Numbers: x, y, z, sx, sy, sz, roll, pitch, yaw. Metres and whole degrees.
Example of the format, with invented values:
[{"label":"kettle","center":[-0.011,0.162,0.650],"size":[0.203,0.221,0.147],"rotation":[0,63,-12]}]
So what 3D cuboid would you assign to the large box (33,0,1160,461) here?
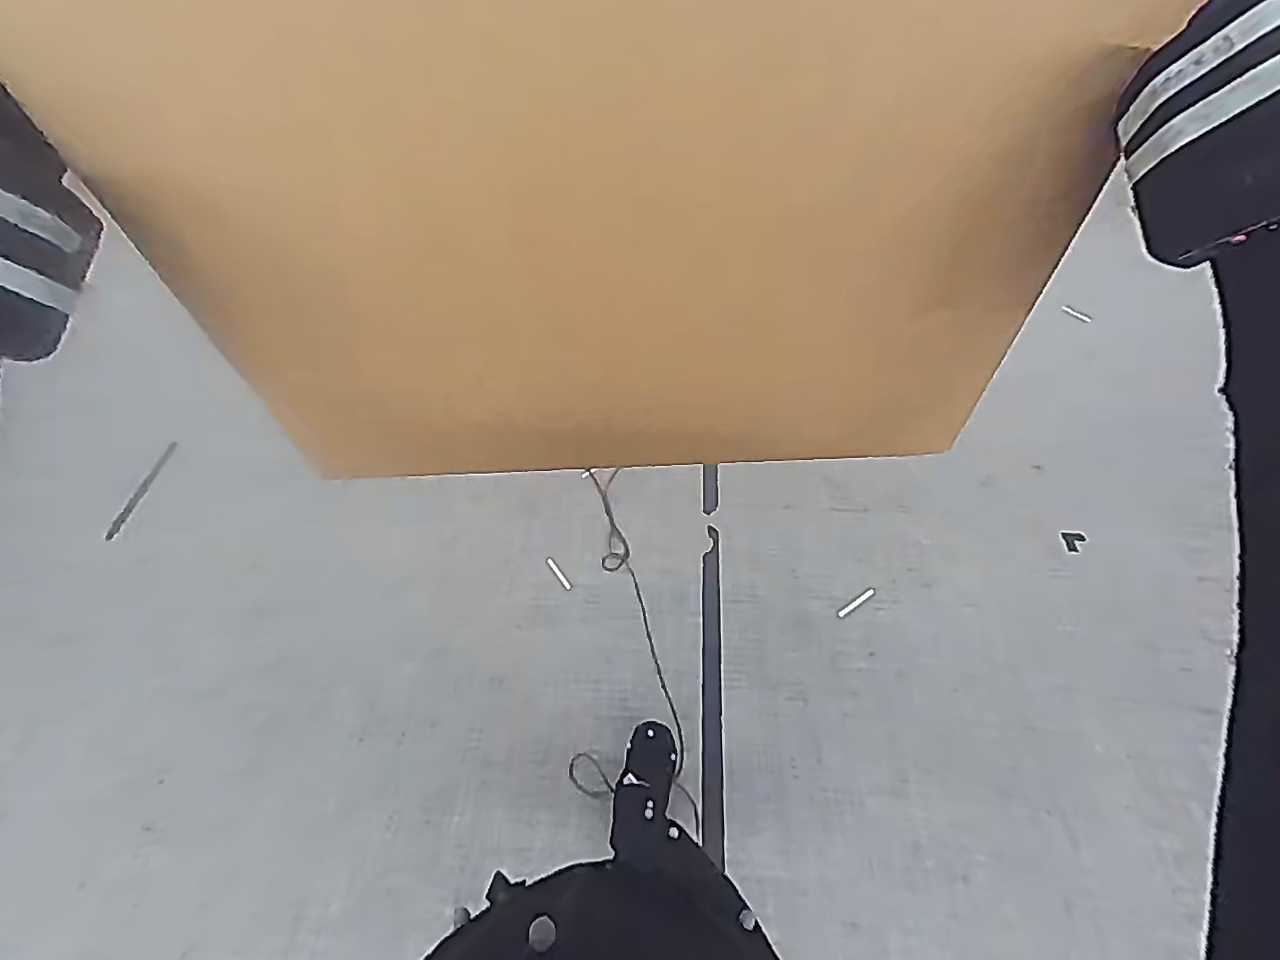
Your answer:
[{"label":"large box","center":[-0.013,-0.230,0.340],"size":[0.408,0.320,0.320],"rotation":[-2,51,0]}]
